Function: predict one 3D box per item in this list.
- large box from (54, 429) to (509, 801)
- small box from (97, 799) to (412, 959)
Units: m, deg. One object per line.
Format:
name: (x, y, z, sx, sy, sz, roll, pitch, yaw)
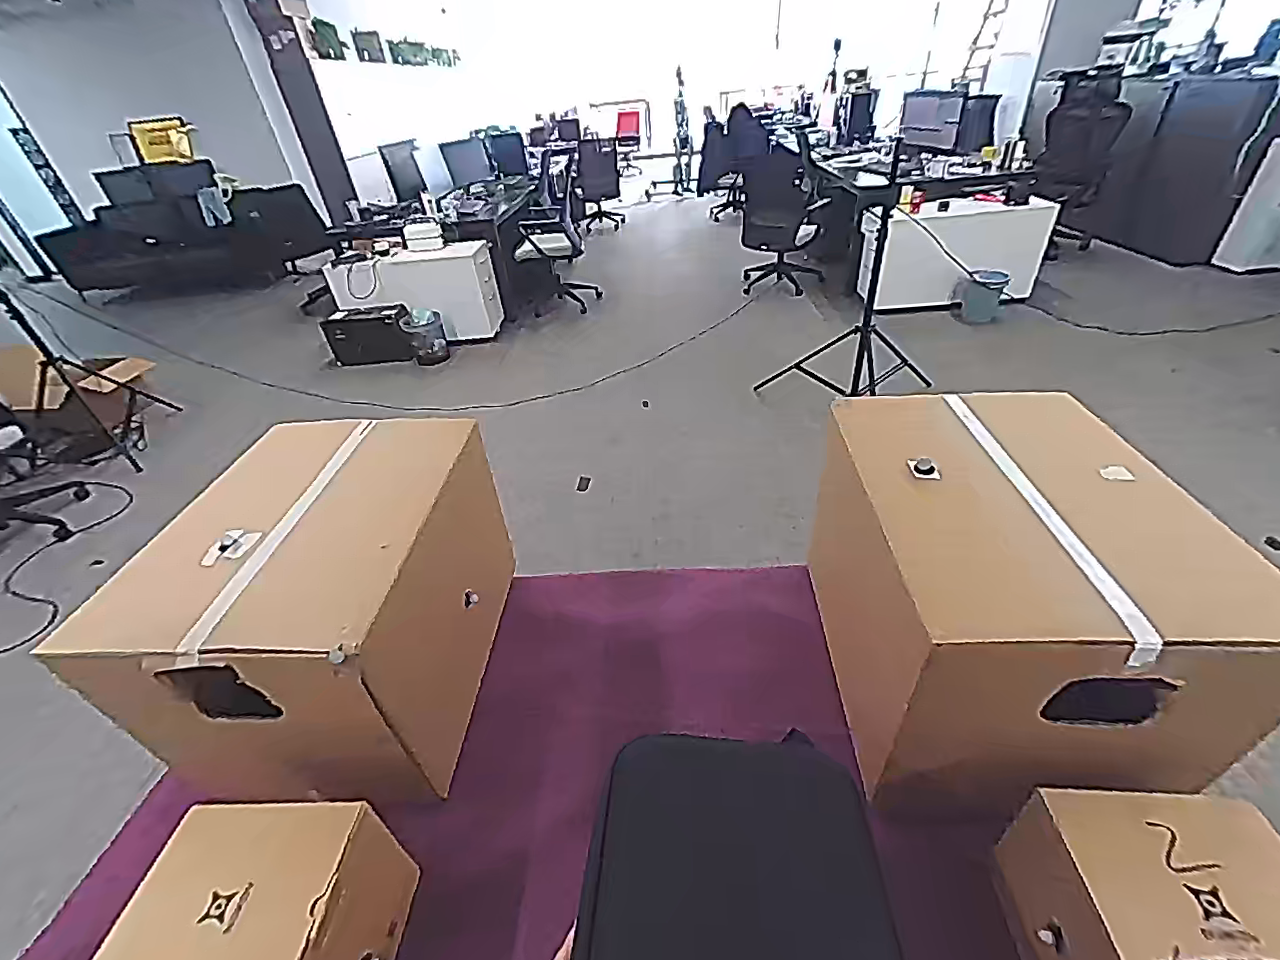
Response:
large box: (-0.393, 0.167, 0.747, 0.320, 0.320, 0.408, -2, 39, 3)
small box: (-0.347, 0.428, 0.508, 0.179, 0.176, 0.168, -3, 35, 3)
